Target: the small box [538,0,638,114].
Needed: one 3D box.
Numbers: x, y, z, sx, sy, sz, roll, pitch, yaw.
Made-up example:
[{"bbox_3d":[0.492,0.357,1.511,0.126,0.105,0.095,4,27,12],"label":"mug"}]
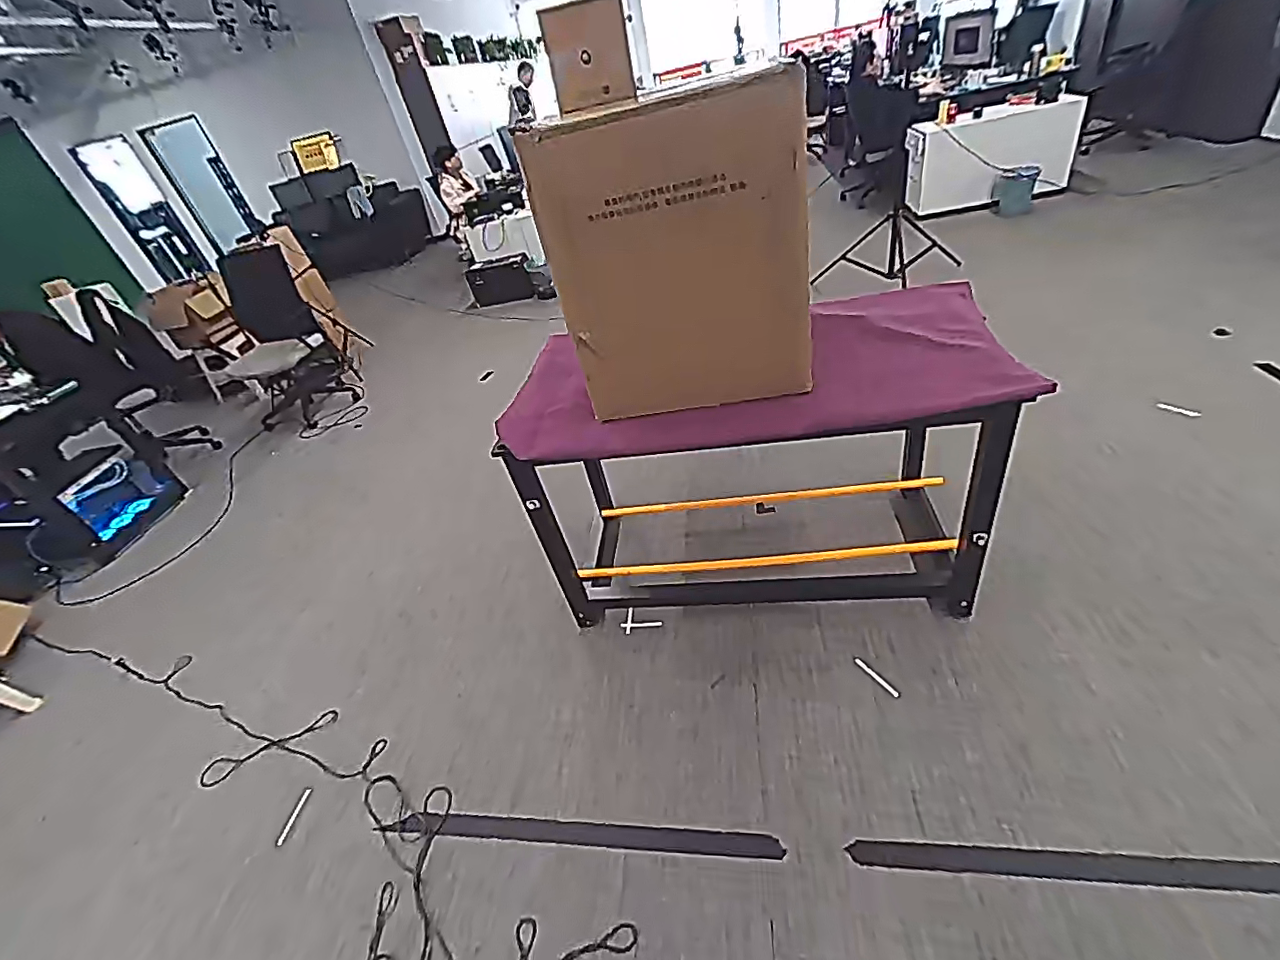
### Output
[{"bbox_3d":[-0.099,-0.875,1.119,0.168,0.176,0.179,-9,37,5],"label":"small box"}]
